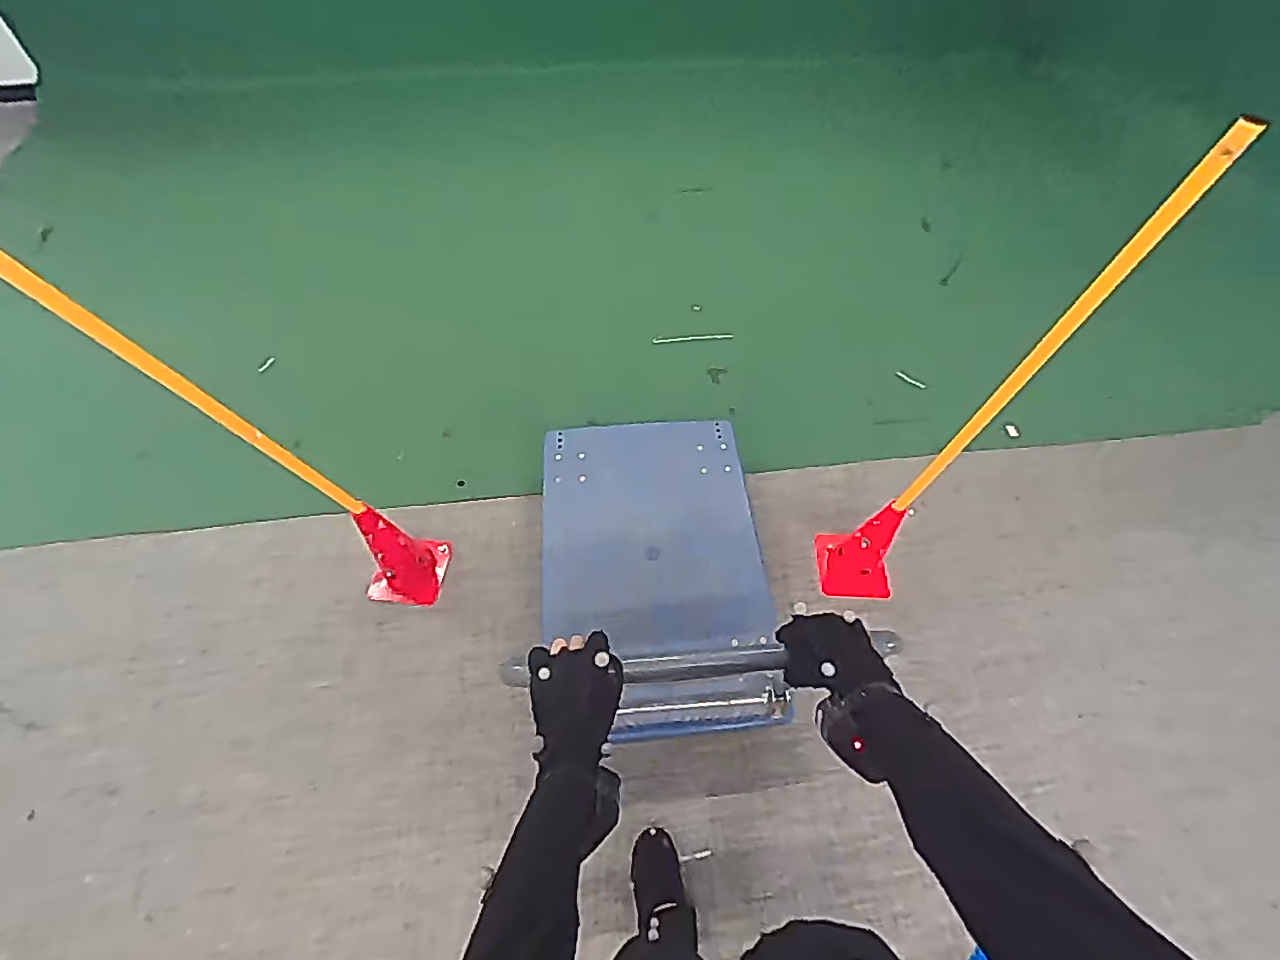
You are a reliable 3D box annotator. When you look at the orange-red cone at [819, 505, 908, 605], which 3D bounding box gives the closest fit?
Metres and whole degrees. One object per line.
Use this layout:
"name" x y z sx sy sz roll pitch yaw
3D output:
"orange-red cone" 0.629 0.175 1.444 0.198 0.360 0.199 3 57 3
